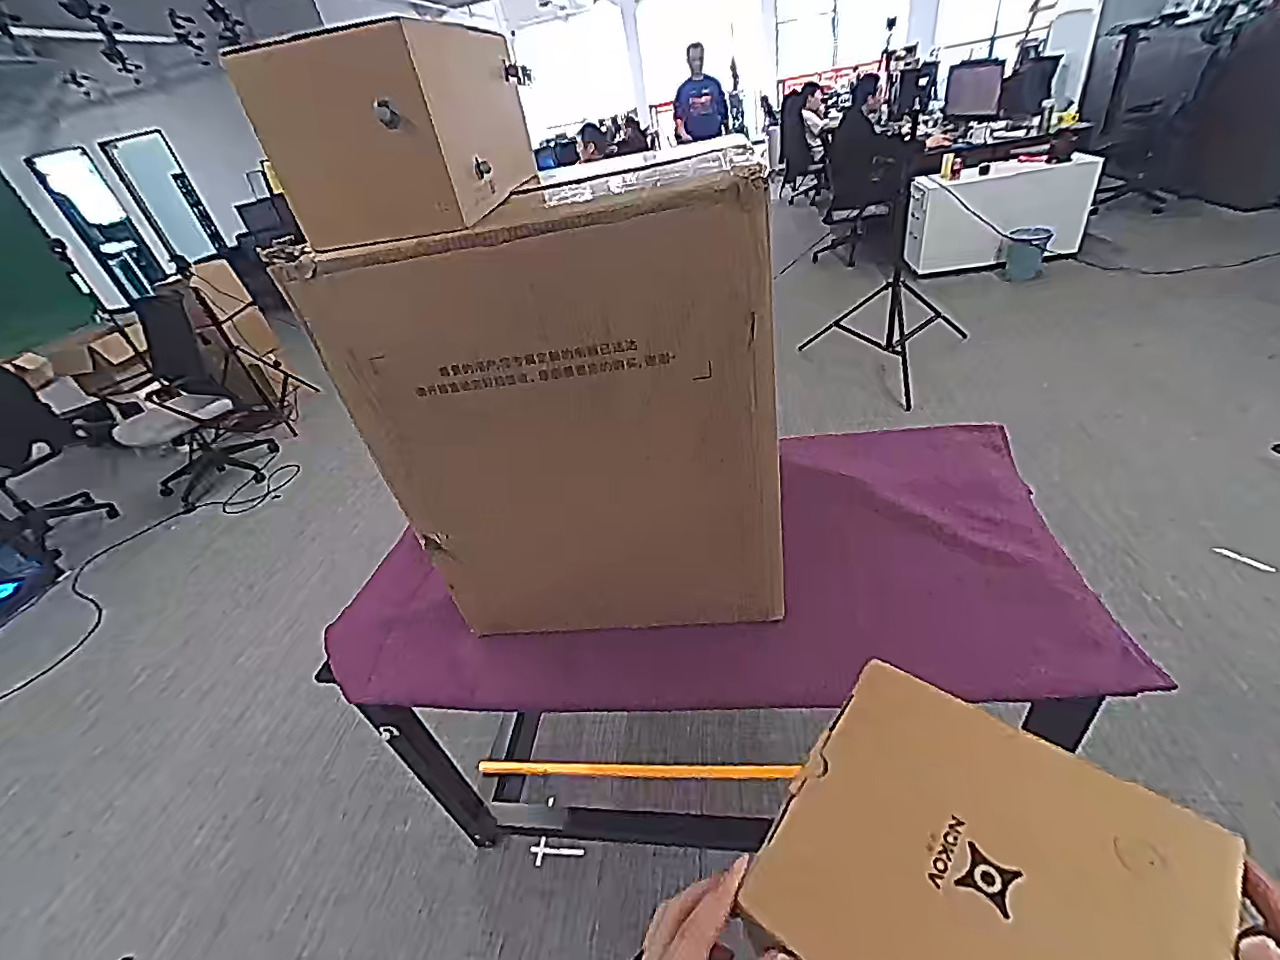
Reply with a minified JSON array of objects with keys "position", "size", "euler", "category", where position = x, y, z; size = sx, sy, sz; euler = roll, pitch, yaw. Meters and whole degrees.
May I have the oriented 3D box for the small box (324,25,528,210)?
[{"position":[-0.259,-0.466,0.709],"size":[0.168,0.176,0.179],"euler":[-5,36,10],"category":"small box"}]
